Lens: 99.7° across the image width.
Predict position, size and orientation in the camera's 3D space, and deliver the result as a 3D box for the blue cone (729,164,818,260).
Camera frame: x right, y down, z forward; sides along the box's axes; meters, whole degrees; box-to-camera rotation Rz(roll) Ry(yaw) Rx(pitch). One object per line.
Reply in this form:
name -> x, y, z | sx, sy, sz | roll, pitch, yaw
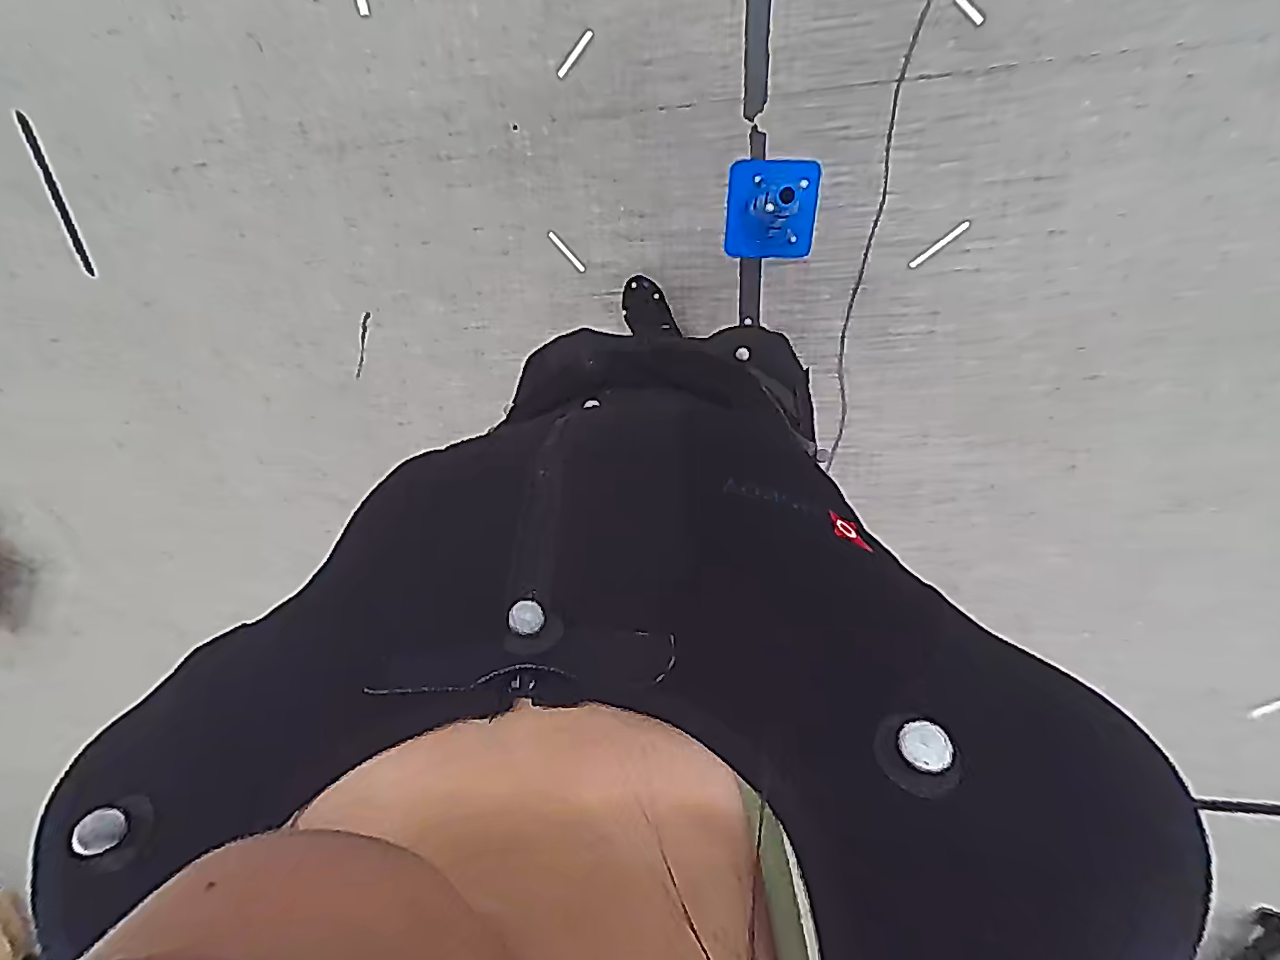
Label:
blue cone -> 0.276, -0.536, 1.060 | 0.193, 0.380, 0.192 | 2, 113, 7
